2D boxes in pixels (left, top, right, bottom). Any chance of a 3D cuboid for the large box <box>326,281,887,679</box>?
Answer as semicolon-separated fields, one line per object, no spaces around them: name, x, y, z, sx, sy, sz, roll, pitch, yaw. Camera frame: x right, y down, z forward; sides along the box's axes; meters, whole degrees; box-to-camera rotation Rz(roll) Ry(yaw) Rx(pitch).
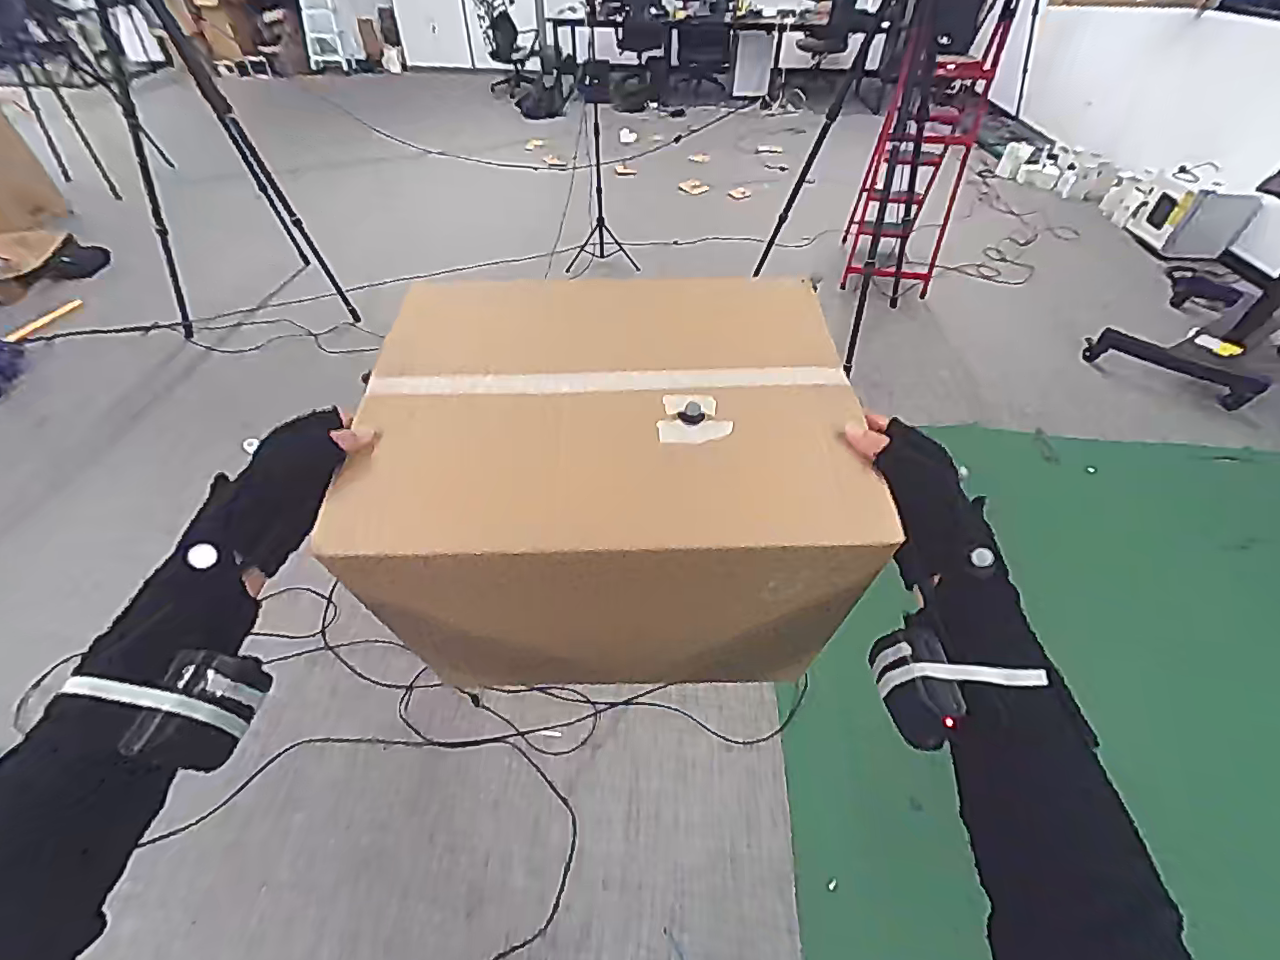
large box;-0.028;0.010;0.584;0.408;0.320;0.320;-1;55;-1
